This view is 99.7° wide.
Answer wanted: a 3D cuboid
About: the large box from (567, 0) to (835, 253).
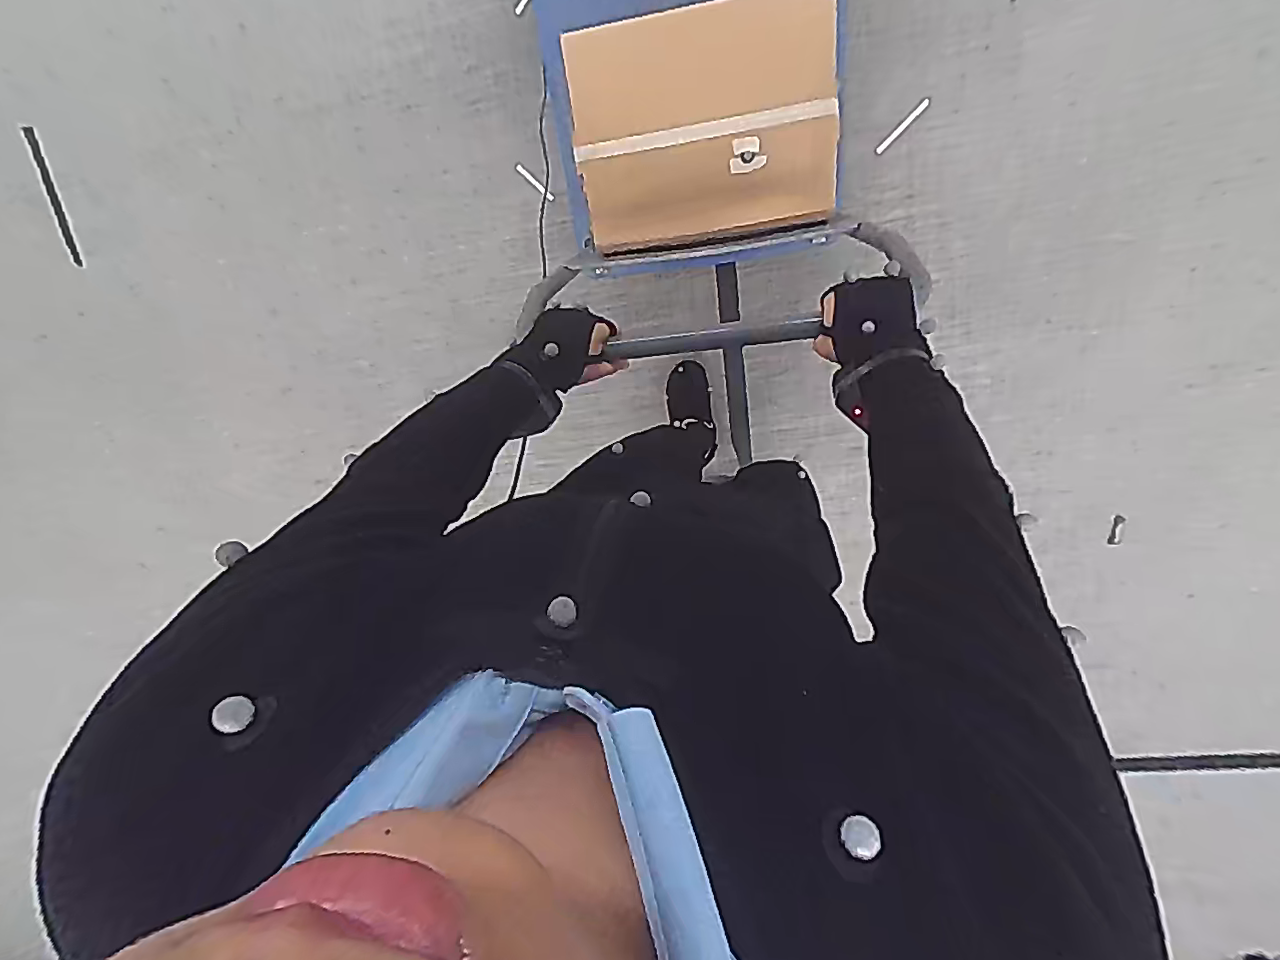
[{"bbox_3d":[0.117,-0.623,0.997,0.408,0.320,0.320,-5,116,9],"label":"large box"}]
